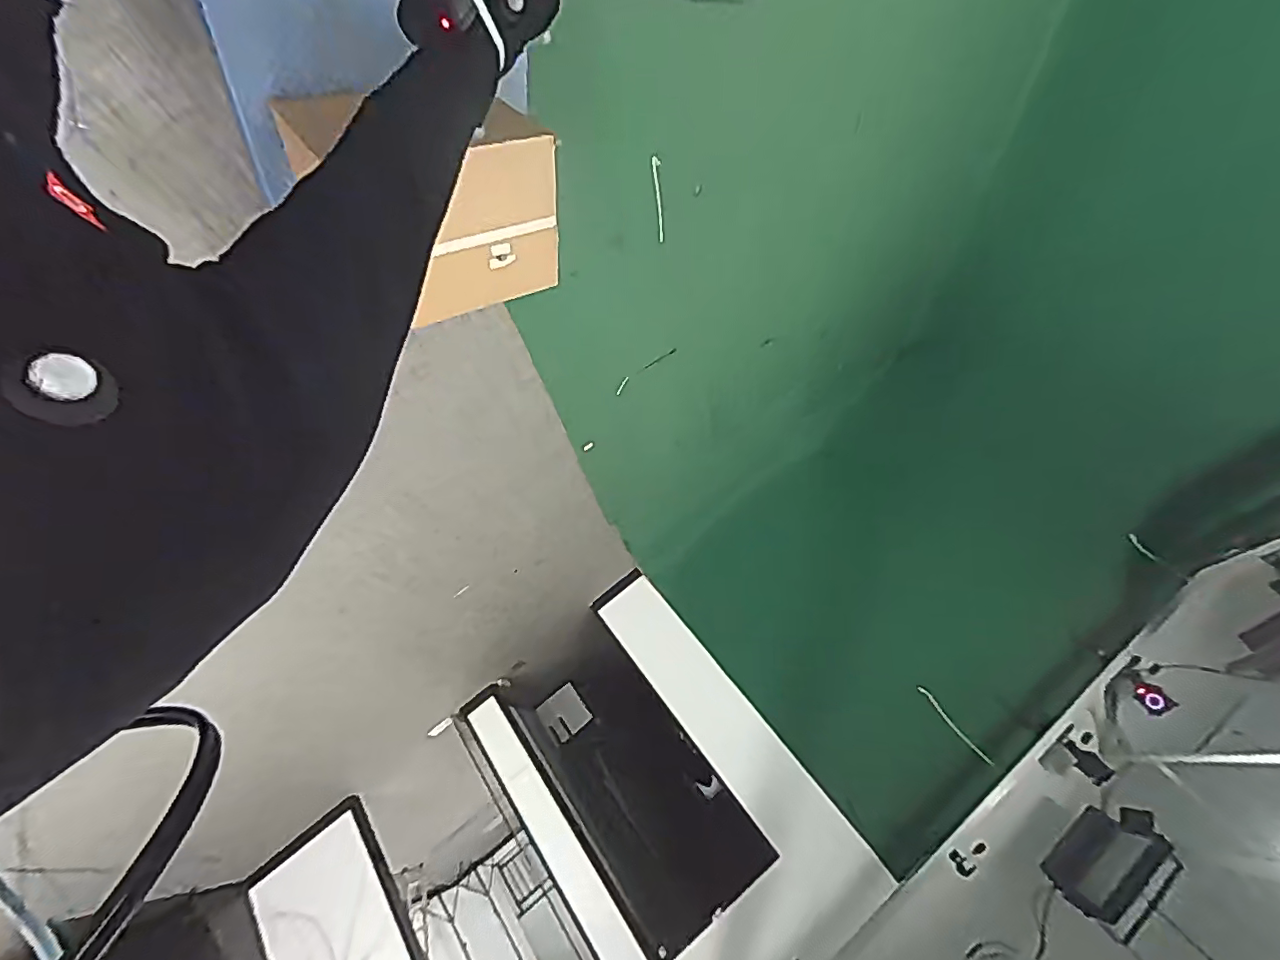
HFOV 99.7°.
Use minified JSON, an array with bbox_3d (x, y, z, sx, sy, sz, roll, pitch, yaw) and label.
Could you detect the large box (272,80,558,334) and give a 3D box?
[{"bbox_3d":[-0.423,-0.563,1.092,0.408,0.320,0.320,-30,151,-26],"label":"large box"}]
